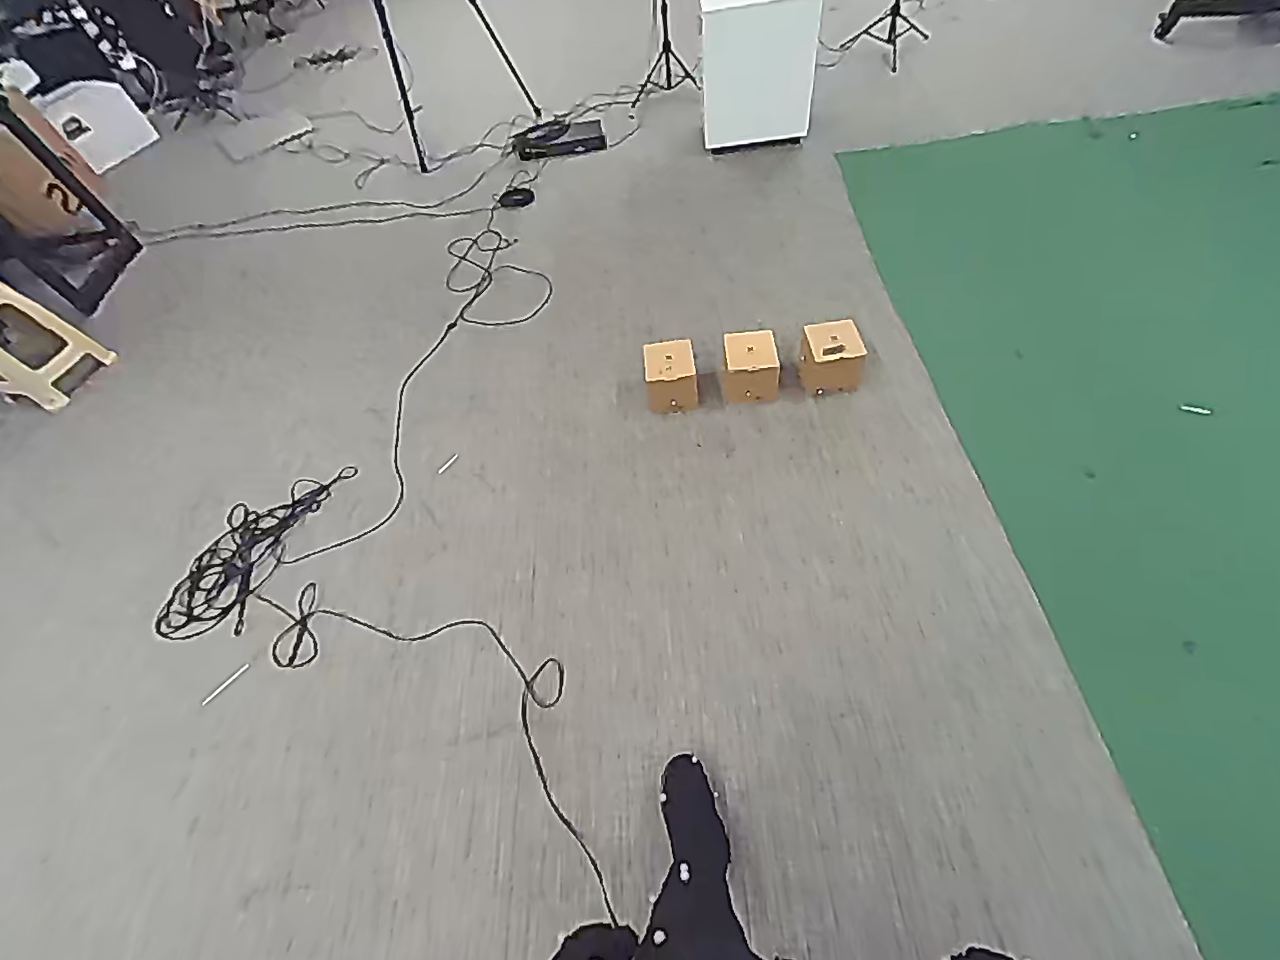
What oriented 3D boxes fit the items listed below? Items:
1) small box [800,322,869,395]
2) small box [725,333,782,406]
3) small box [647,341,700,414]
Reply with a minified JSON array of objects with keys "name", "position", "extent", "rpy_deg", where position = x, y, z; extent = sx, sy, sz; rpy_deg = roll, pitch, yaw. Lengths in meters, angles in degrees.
[{"name":"small box","position":[0.648,-0.401,1.820],"extent":[0.168,0.176,0.179],"rpy_deg":[-7,55,4]},{"name":"small box","position":[0.381,-0.375,1.842],"extent":[0.168,0.176,0.179],"rpy_deg":[-4,56,5]},{"name":"small box","position":[0.115,-0.350,1.861],"extent":[0.168,0.176,0.179],"rpy_deg":[-7,56,5]}]
